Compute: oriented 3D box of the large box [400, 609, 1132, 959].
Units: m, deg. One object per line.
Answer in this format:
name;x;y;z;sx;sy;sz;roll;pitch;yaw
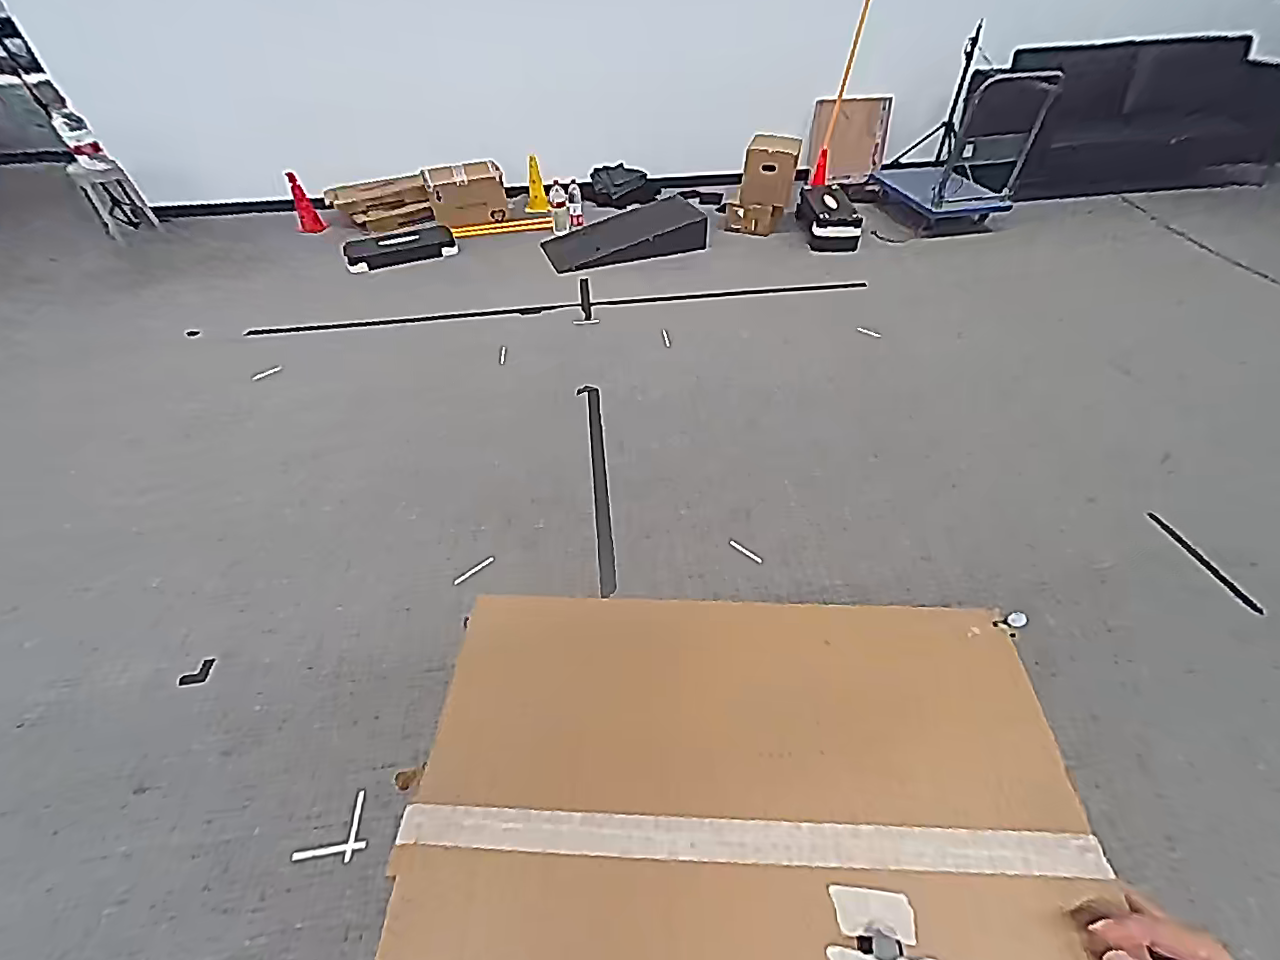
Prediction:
large box;0.070;0.319;0.440;0.408;0.320;0.320;1;50;3
